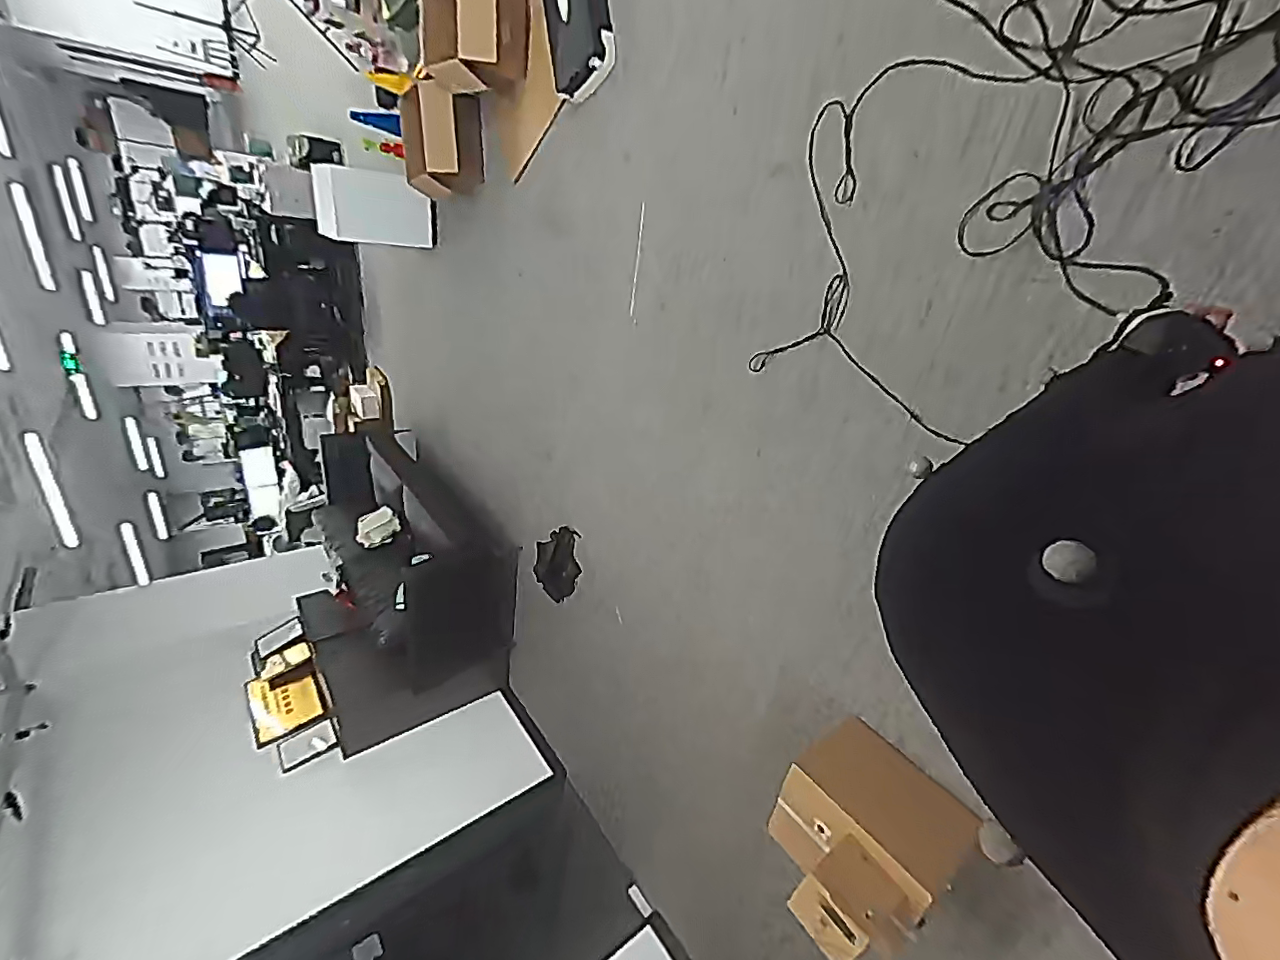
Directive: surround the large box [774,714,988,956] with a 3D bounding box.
[{"bbox_3d":[0.657,0.959,1.514,0.408,0.320,0.320,36,126,43],"label":"large box"}]
